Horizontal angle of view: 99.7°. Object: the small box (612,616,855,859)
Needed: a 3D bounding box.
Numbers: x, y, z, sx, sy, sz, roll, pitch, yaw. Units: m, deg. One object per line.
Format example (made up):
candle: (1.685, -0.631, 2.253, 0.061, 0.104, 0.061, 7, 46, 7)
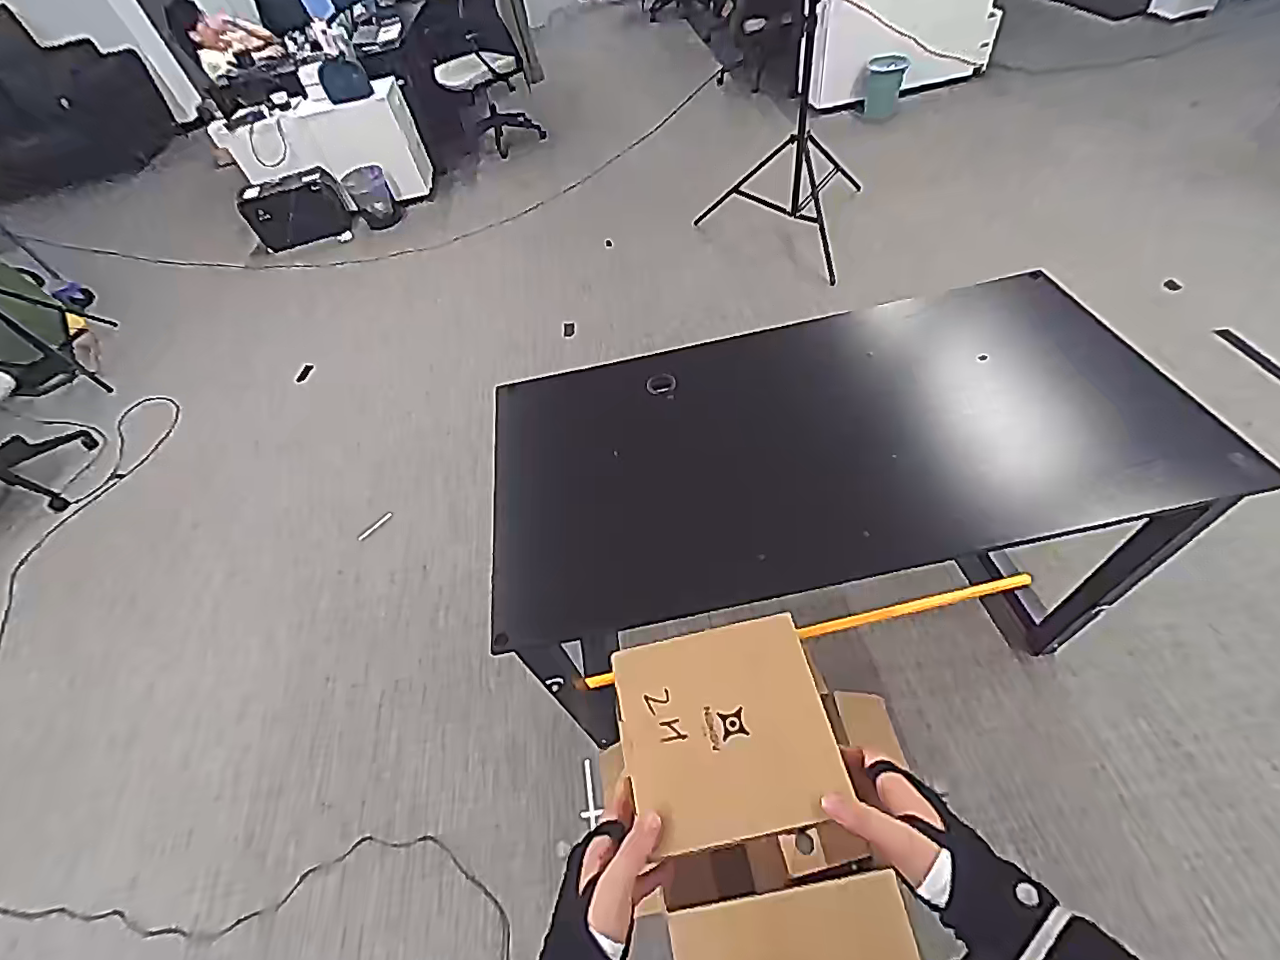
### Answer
small box: (0.080, 0.255, 0.529, 0.179, 0.176, 0.168, -13, 54, 0)
